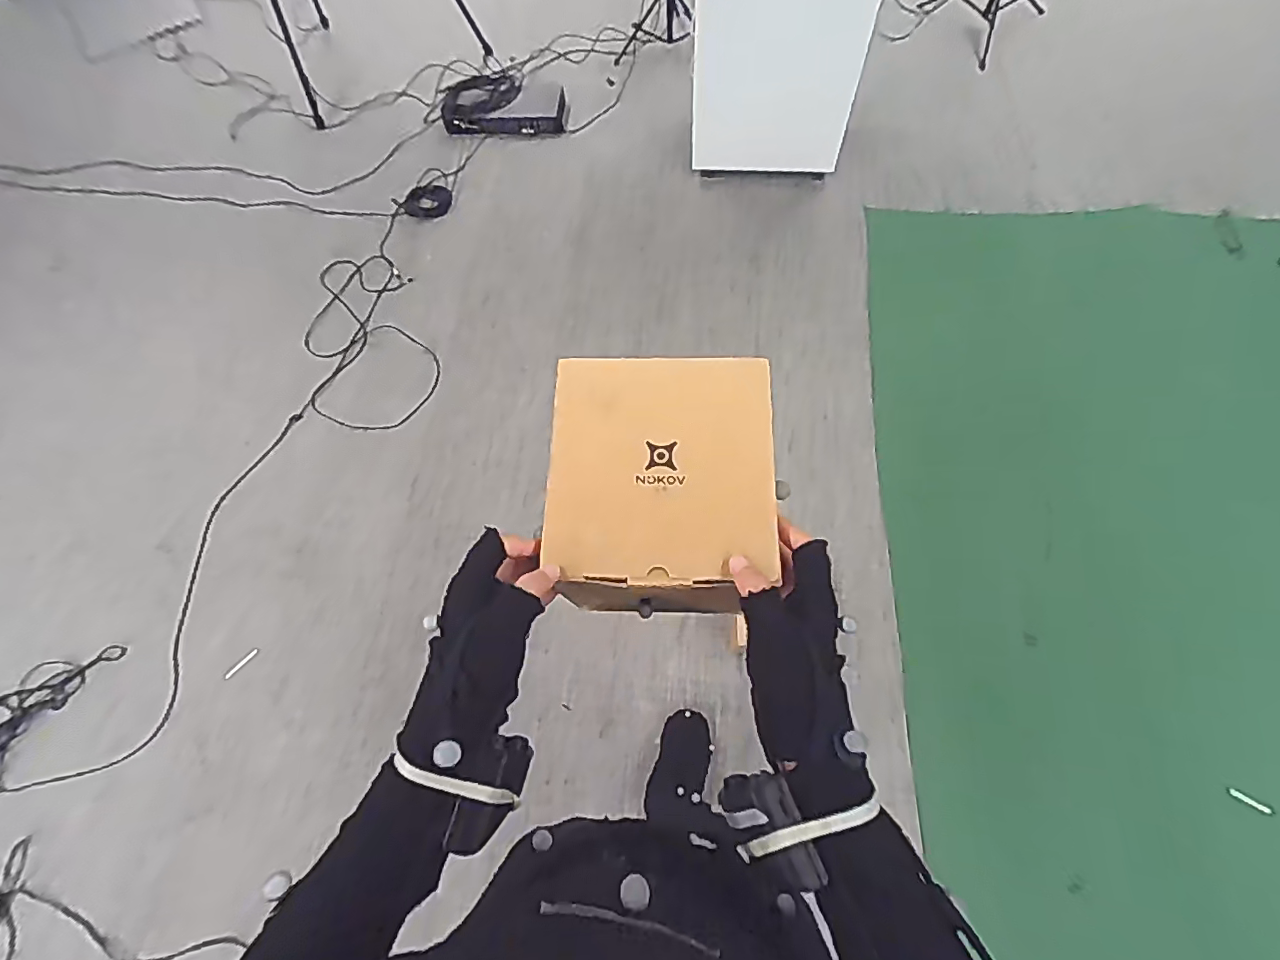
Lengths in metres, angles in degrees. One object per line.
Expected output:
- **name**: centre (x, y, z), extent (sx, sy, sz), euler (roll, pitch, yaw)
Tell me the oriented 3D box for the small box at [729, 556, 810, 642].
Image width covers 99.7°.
- **small box**: centre (0.306, 0.290, 1.298), extent (0.168, 0.176, 0.179), euler (1, 67, 5)
